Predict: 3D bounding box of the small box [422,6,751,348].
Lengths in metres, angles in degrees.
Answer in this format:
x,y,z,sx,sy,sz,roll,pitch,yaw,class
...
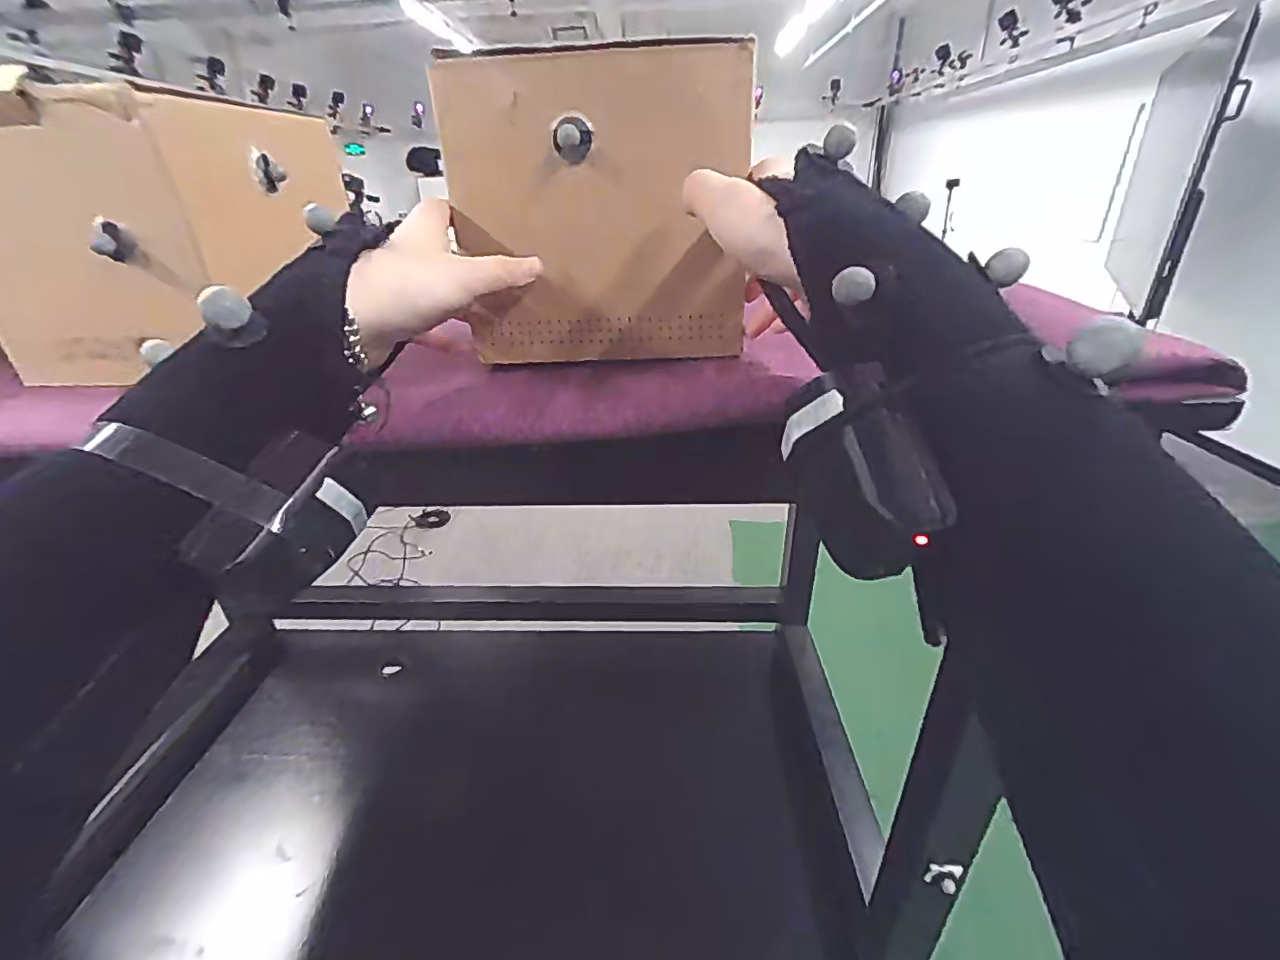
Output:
x,y,z,sx,sy,sz,roll,pitch,yaw,class
-0.022,-0.192,0.381,0.179,0.176,0.168,-1,26,3,small box

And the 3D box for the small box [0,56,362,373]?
x,y,z,sx,sy,sz,roll,pitch,yaw,class
-0.334,-0.179,0.391,0.168,0.176,0.179,1,28,4,small box
